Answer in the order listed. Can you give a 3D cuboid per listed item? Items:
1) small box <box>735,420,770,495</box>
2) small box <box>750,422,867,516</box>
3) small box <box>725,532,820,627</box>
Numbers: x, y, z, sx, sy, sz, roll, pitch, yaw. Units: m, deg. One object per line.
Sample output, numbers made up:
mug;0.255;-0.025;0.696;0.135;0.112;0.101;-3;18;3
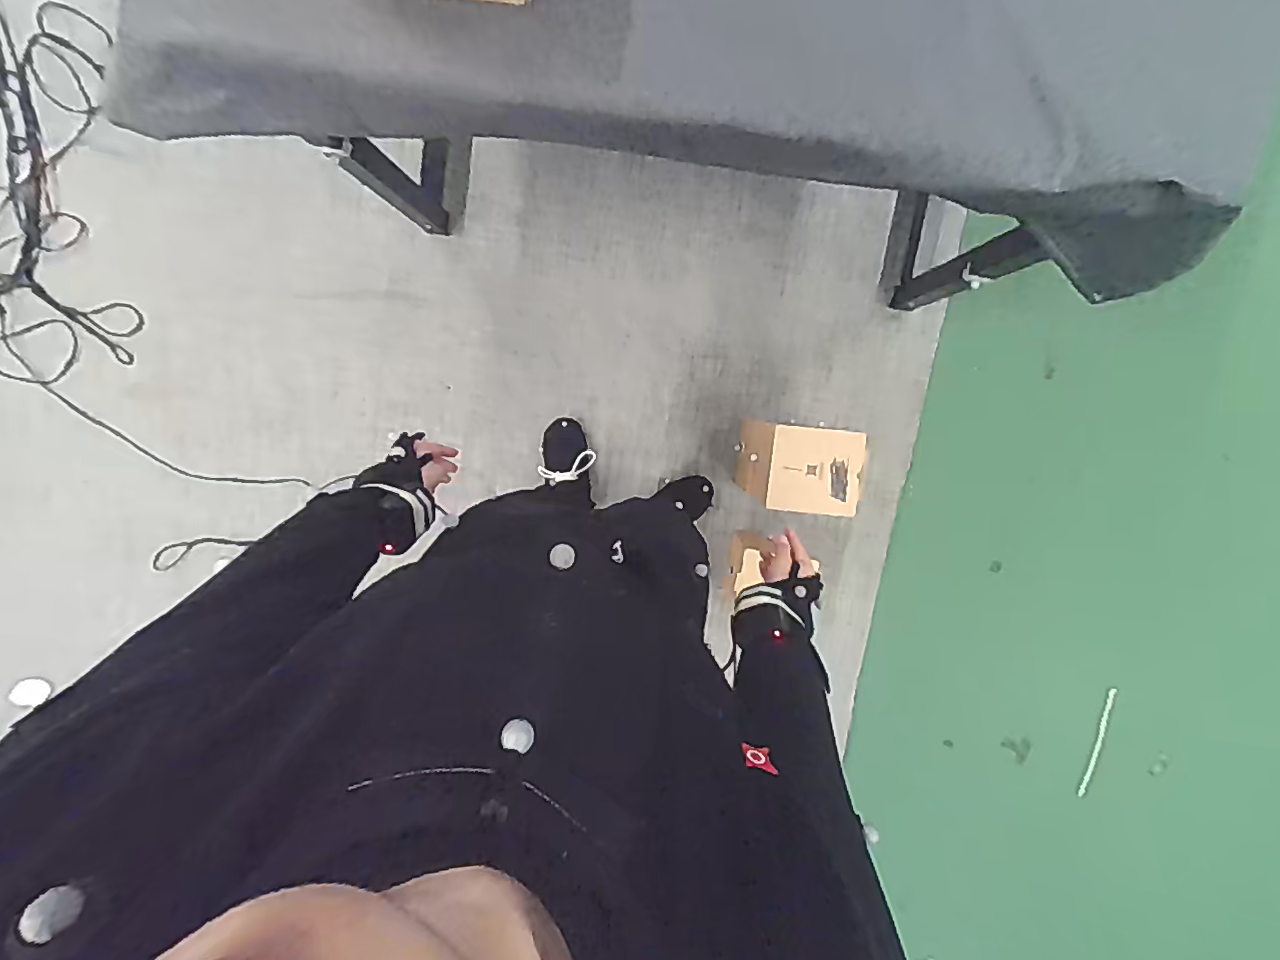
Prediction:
small box;0.329;-0.050;1.264;0.179;0.176;0.168;5;97;1
small box;0.334;-0.029;1.102;0.179;0.176;0.168;5;97;1
small box;0.310;0.231;1.304;0.179;0.176;0.168;11;99;1
